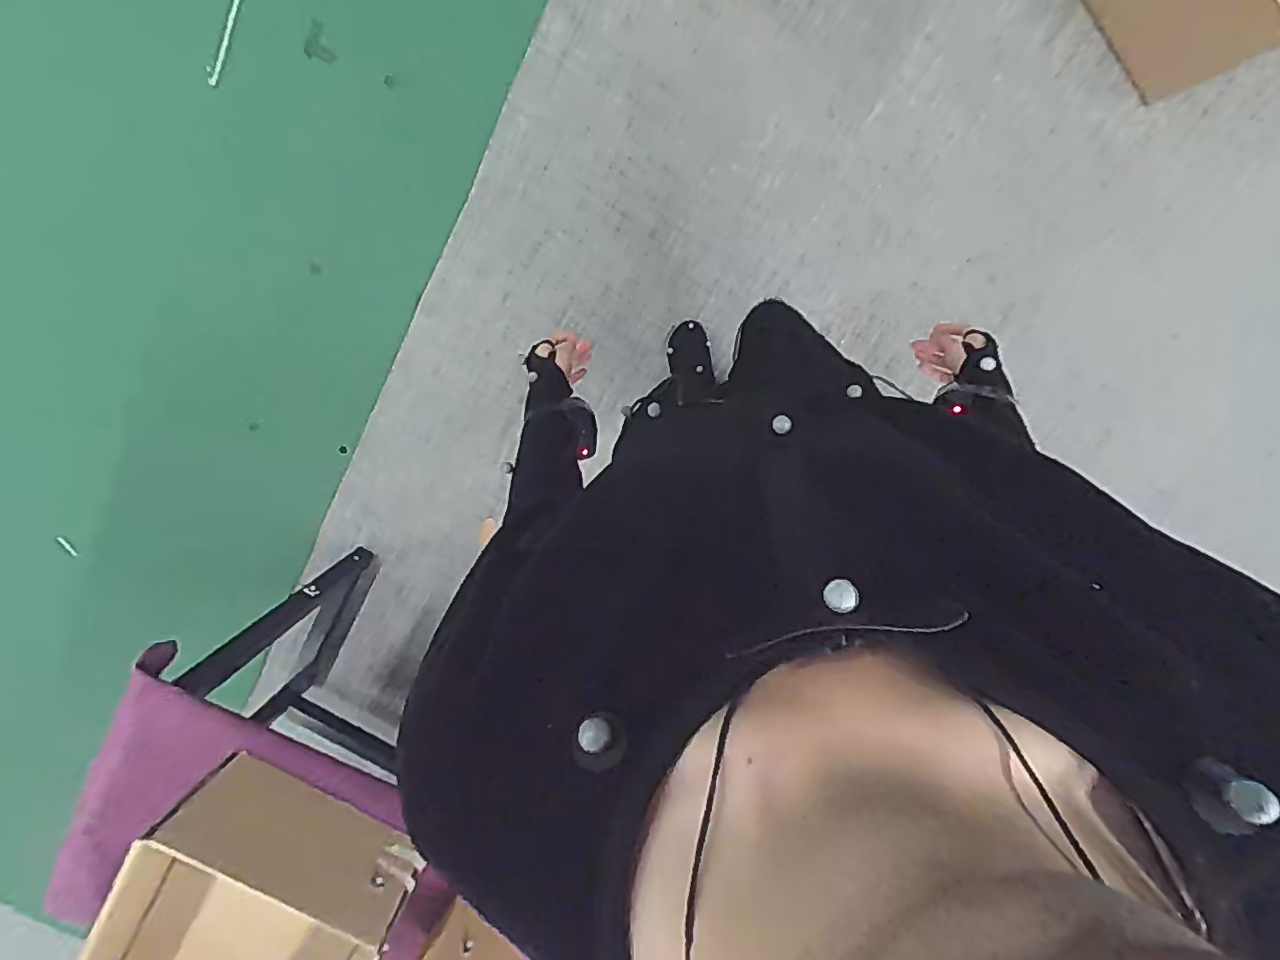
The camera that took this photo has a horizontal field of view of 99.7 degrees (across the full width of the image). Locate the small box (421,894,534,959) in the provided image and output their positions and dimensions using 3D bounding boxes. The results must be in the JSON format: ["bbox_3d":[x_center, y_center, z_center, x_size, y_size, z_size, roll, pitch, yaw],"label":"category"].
[{"bbox_3d":[-0.307,0.894,0.960,0.168,0.176,0.179,33,106,-4],"label":"small box"}]
